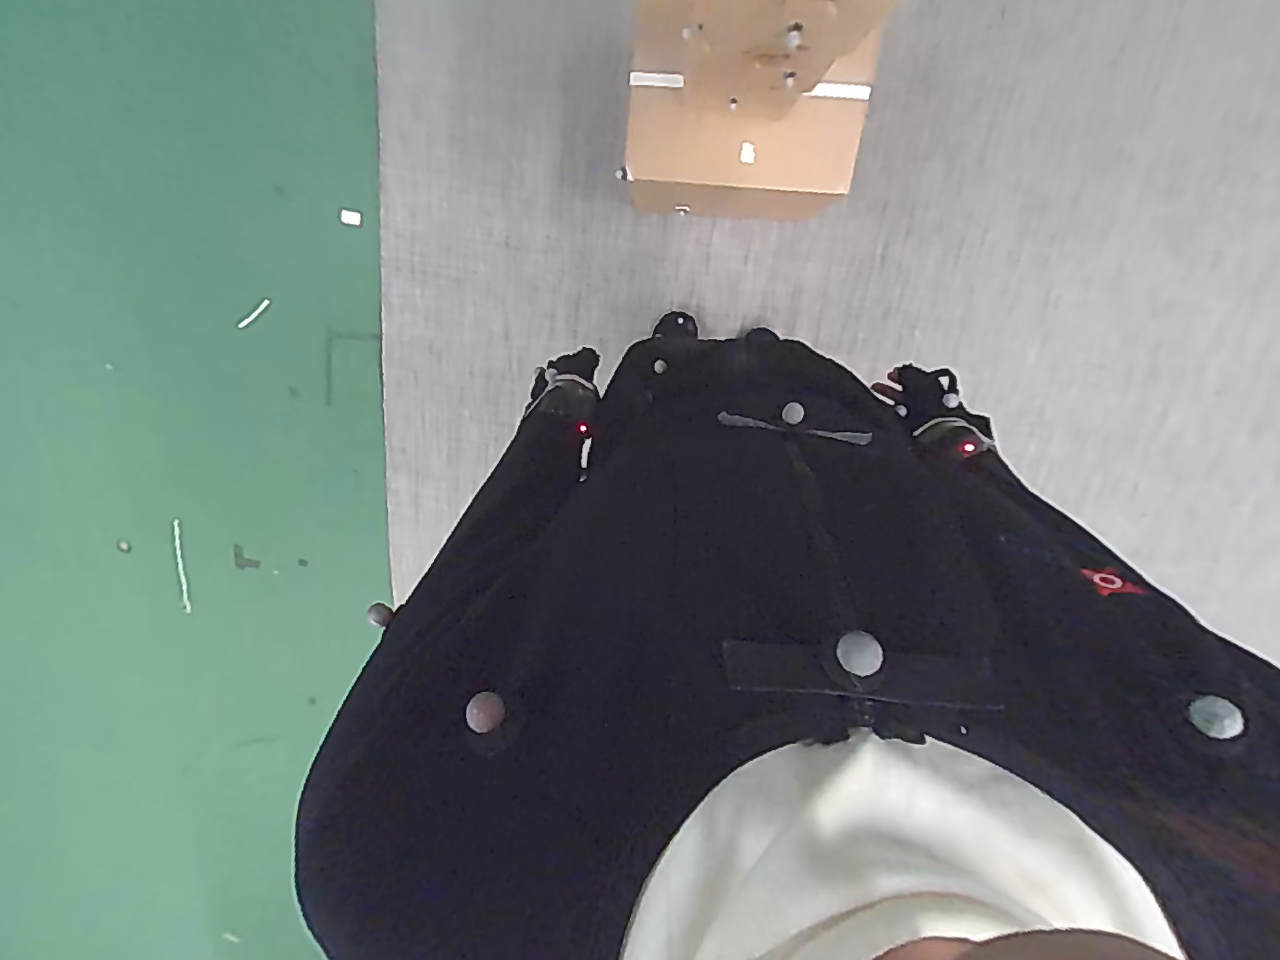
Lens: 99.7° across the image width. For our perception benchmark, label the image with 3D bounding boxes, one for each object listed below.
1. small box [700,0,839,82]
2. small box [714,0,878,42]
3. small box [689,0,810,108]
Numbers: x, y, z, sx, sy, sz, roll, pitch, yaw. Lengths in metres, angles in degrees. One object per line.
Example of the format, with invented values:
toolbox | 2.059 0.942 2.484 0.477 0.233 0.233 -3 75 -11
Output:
small box | 0.163 -0.621 0.675 0.168 0.176 0.179 3 113 3
small box | 0.163 -0.556 0.525 0.168 0.176 0.179 4 115 3
small box | 0.170 -0.684 0.825 0.179 0.176 0.168 6 115 3
